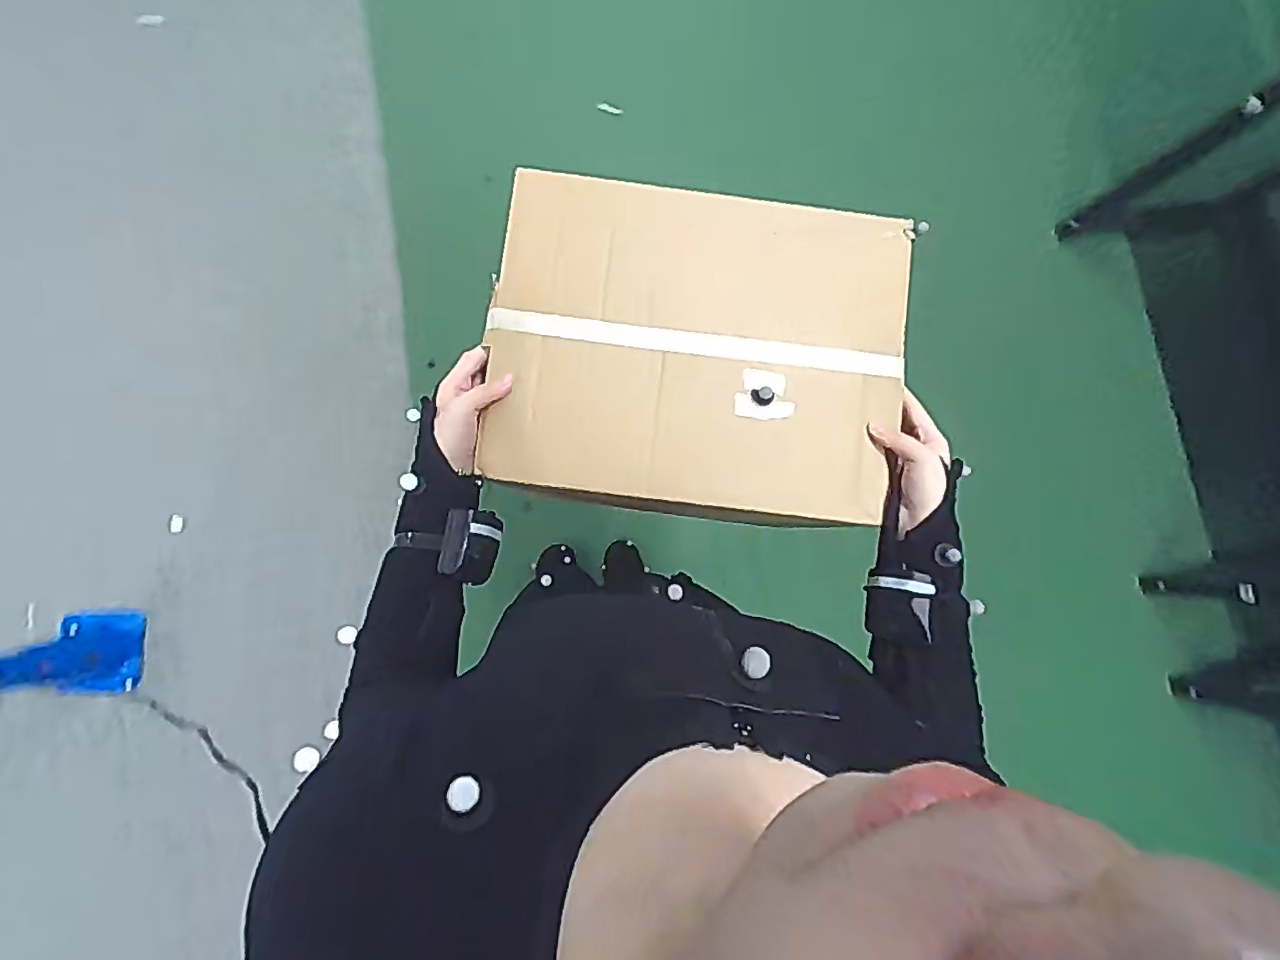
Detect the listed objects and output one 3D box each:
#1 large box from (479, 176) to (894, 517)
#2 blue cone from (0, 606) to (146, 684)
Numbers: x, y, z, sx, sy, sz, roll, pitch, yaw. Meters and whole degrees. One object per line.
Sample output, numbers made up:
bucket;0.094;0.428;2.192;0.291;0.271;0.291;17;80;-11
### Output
large box;0.045;-0.125;0.683;0.408;0.320;0.320;6;85;-3
blue cone;-1.351;0.399;1.209;0.192;0.380;0.193;1;83;-6
